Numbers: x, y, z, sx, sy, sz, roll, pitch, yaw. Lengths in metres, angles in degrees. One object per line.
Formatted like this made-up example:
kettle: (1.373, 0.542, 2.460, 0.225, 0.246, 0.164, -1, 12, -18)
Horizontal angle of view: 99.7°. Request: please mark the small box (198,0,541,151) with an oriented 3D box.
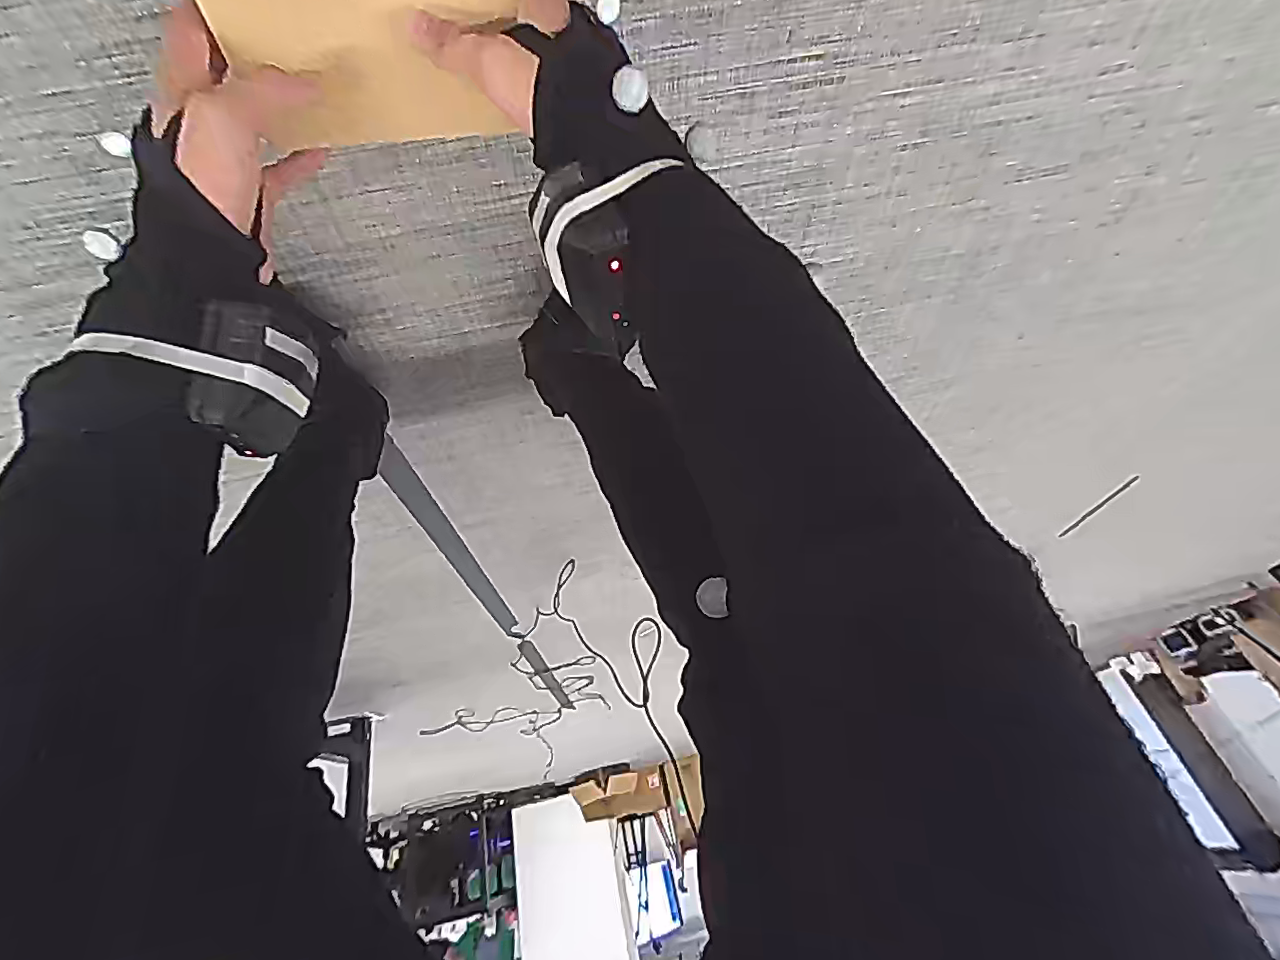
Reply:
small box: (-0.153, -0.322, 0.308, 0.168, 0.176, 0.179, -9, 147, -8)
